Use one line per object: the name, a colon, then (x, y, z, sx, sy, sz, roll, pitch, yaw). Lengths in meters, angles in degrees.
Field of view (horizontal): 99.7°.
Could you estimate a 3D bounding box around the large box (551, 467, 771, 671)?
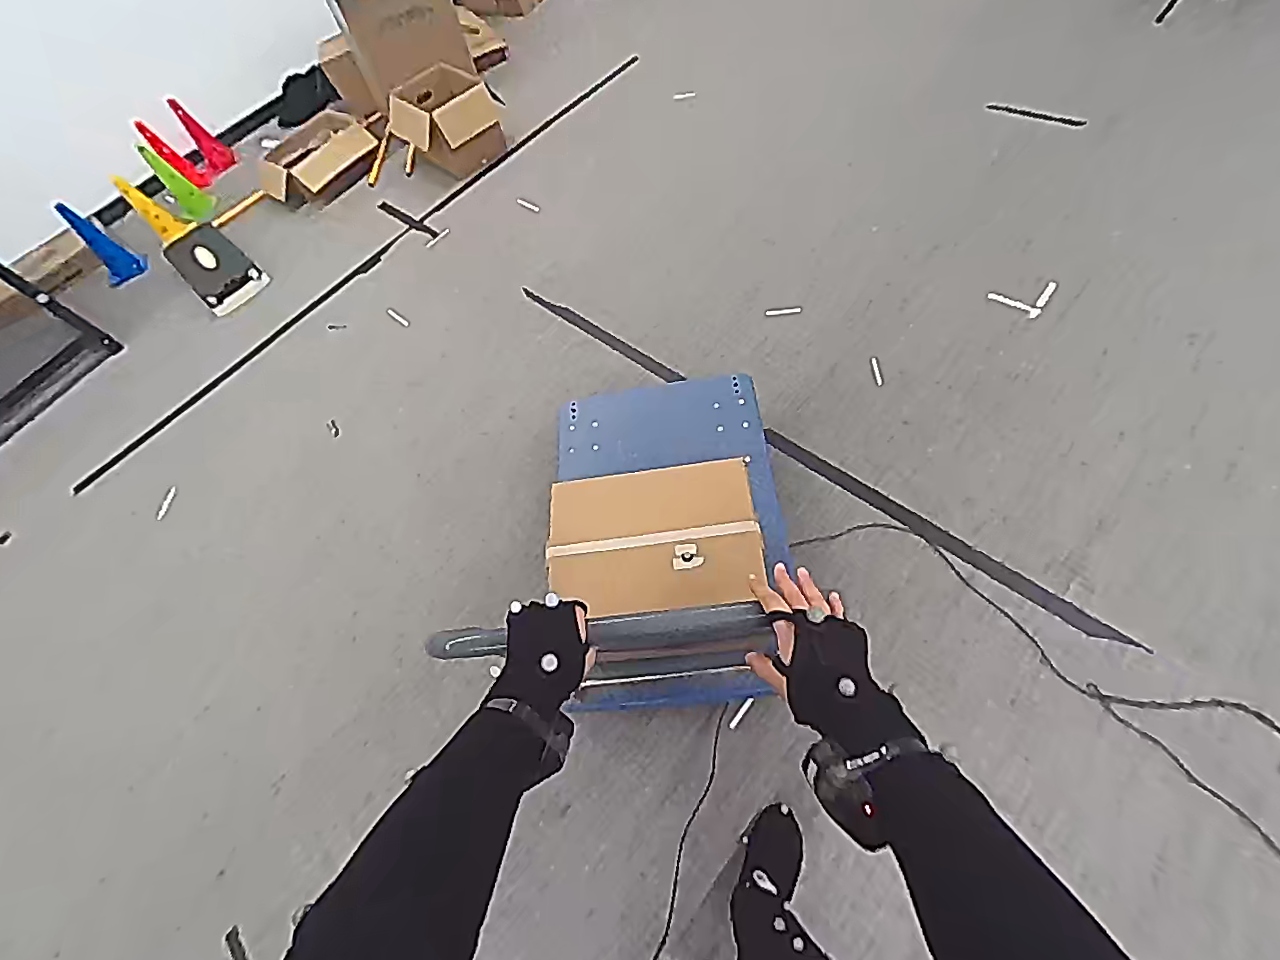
large box: (0.045, 0.205, 1.155, 0.408, 0.320, 0.320, -8, 61, 6)
